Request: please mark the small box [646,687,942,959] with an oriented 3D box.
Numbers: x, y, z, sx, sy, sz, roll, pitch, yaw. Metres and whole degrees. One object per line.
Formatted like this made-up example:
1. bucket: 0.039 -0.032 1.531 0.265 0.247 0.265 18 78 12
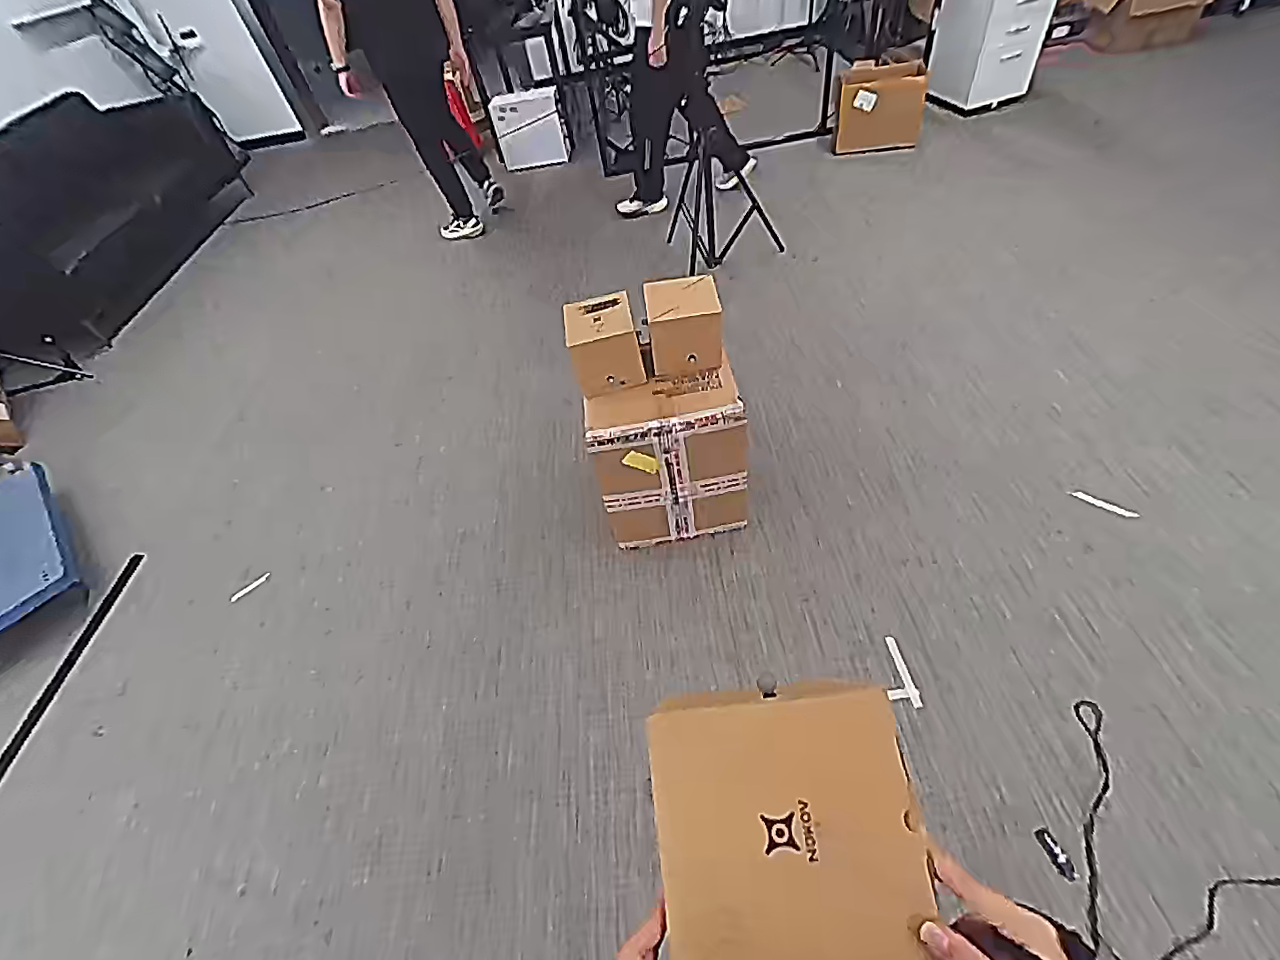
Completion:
1. small box: 0.106 0.268 0.447 0.179 0.176 0.168 -8 70 3
